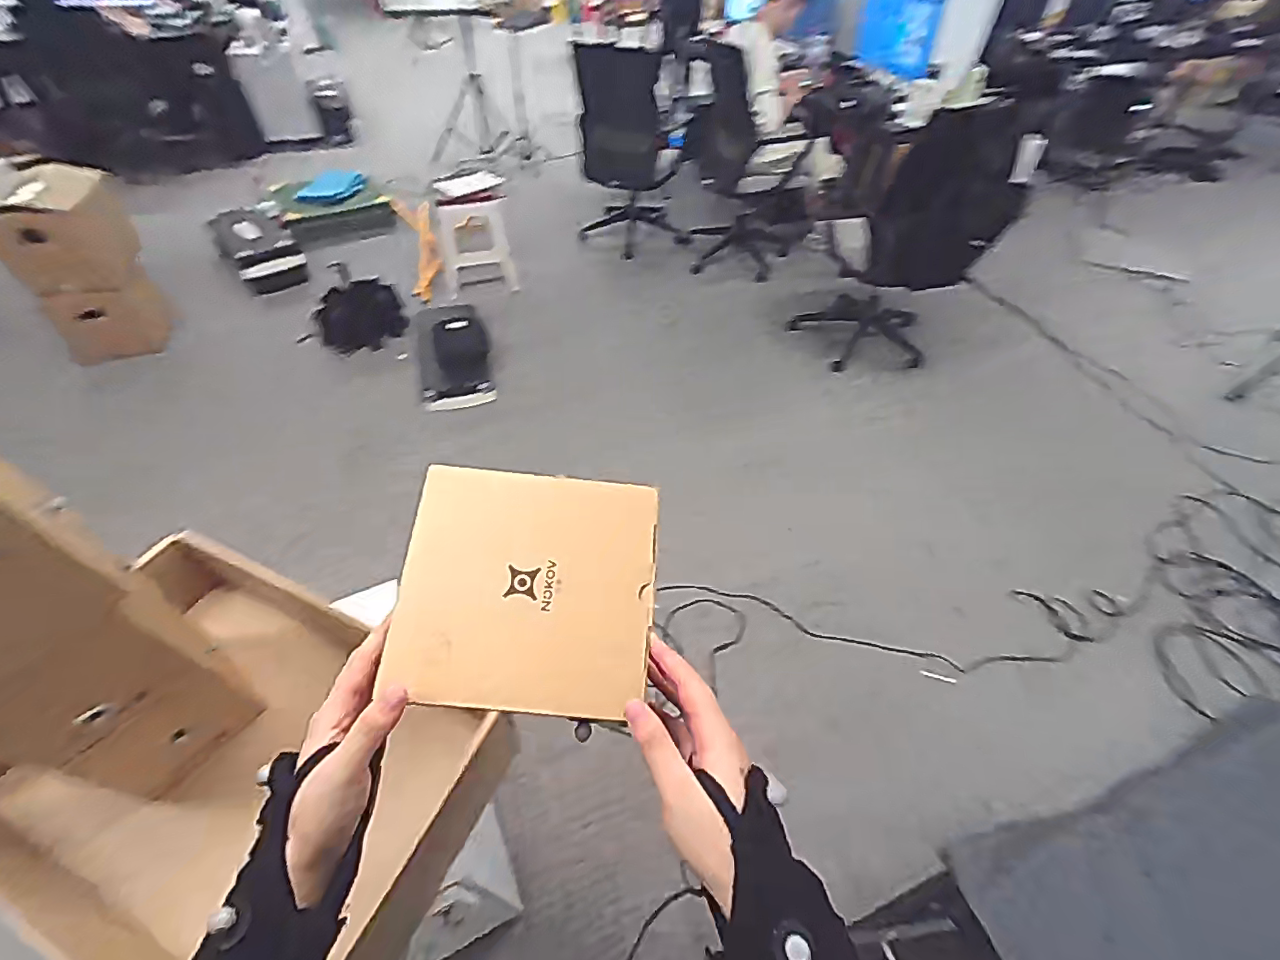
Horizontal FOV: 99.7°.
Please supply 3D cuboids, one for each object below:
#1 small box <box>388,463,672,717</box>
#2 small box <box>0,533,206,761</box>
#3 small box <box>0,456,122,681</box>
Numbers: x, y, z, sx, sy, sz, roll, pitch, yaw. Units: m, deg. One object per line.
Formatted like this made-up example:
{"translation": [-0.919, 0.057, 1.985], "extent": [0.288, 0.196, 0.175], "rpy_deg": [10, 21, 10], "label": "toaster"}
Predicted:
{"translation": [-0.074, 0.102, 0.453], "extent": [0.179, 0.176, 0.168], "rpy_deg": [7, 67, -1], "label": "small box"}
{"translation": [-0.660, 0.186, 0.621], "extent": [0.179, 0.176, 0.168], "rpy_deg": [34, 58, 24], "label": "small box"}
{"translation": [-0.640, 0.080, 0.495], "extent": [0.168, 0.176, 0.179], "rpy_deg": [30, 56, 23], "label": "small box"}
